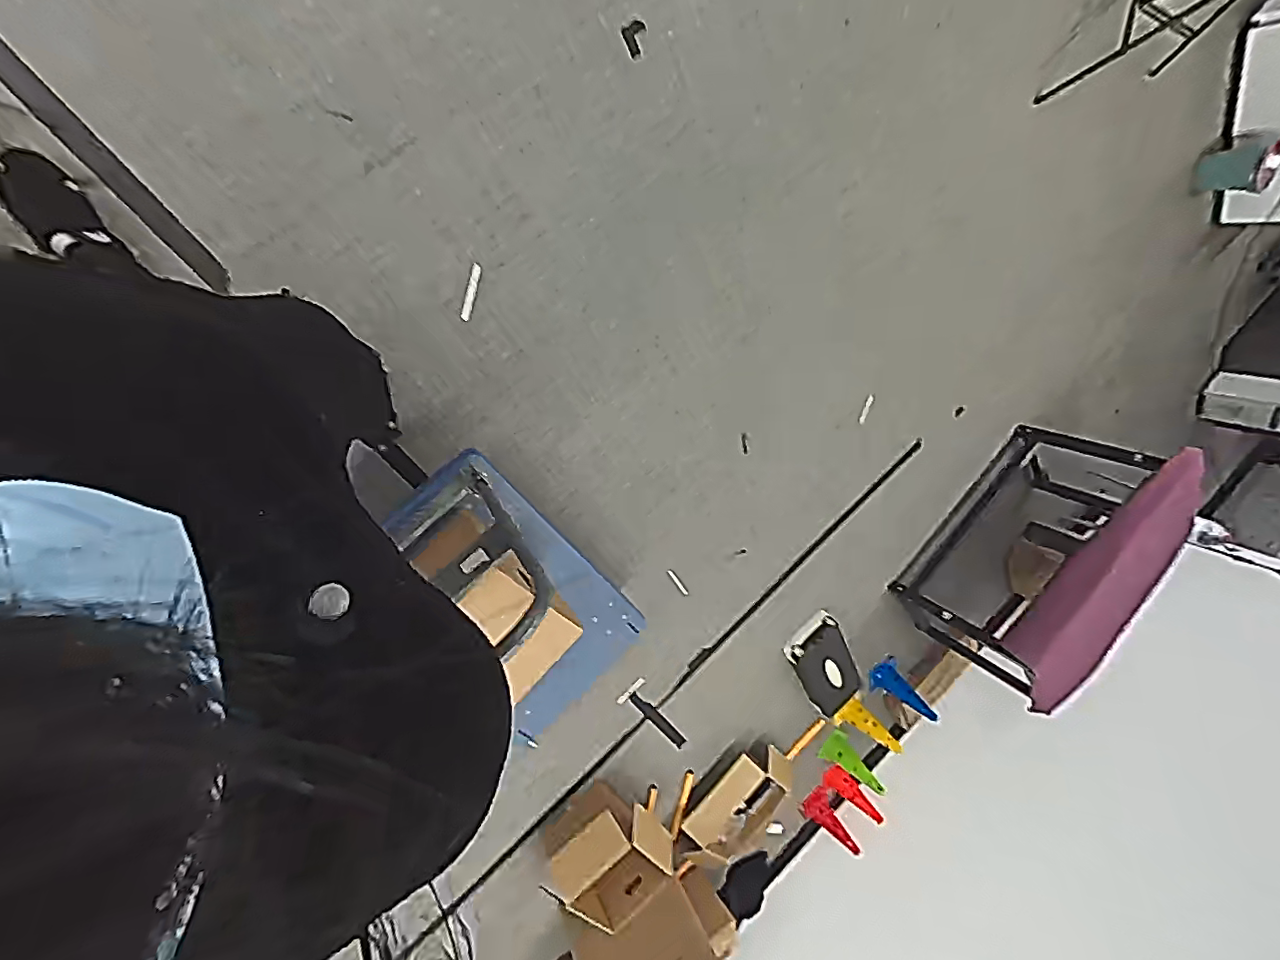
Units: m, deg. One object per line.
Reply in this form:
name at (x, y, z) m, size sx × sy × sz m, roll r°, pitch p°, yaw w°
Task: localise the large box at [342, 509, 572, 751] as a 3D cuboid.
large box at (-0.447, 0.349, 1.312) m, size 0.408 × 0.320 × 0.320 m, roll -46°, pitch 125°, yaw -5°
